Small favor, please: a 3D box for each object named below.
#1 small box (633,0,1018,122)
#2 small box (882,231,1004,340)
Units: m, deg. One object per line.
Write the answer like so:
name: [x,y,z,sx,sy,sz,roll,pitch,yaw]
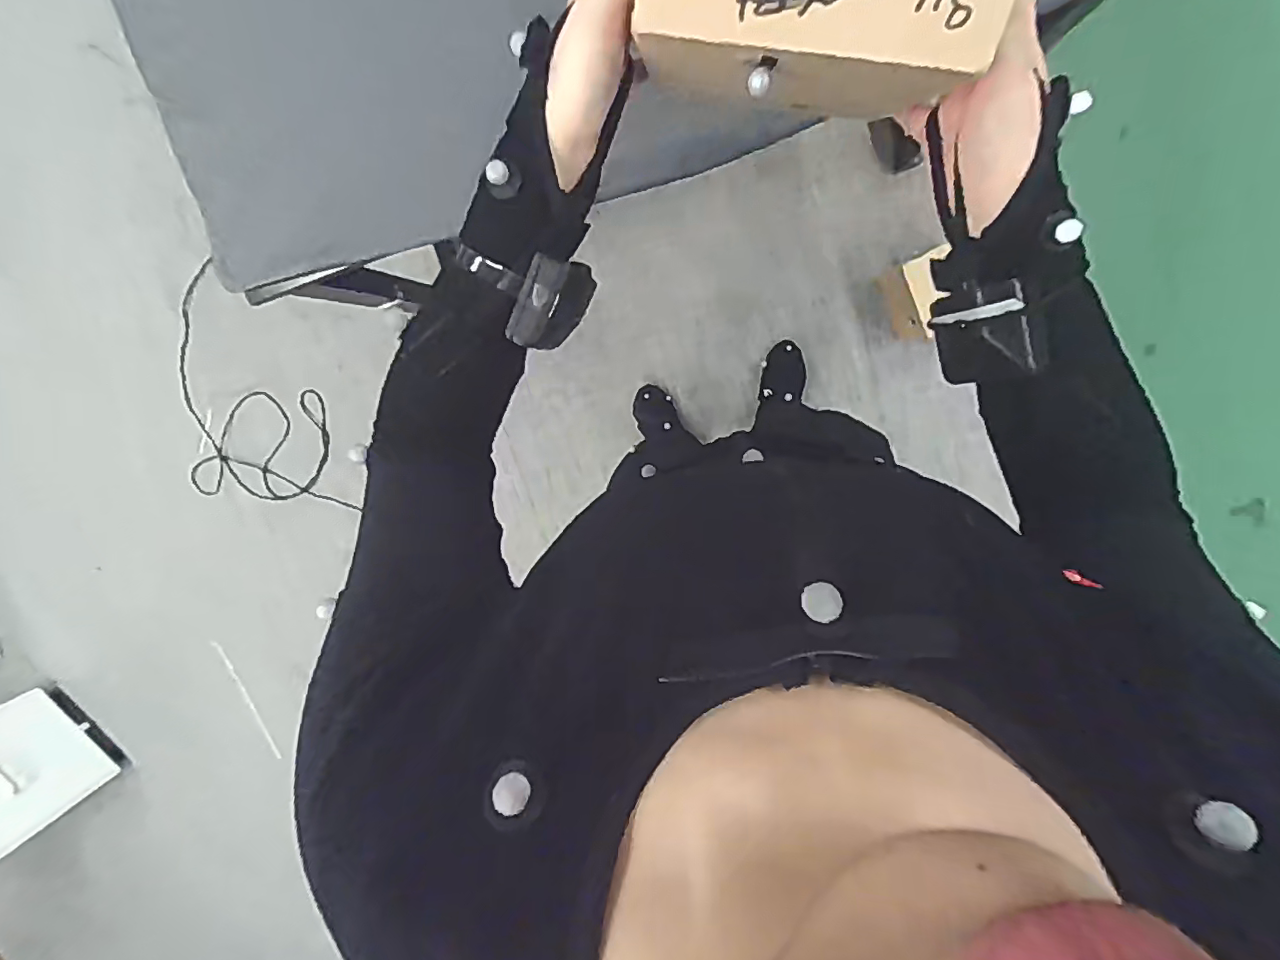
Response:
small box: [0.094,-0.304,0.273,0.168,0.176,0.179,9,118,2]
small box: [0.688,-0.438,1.244,0.168,0.176,0.179,-24,99,10]
